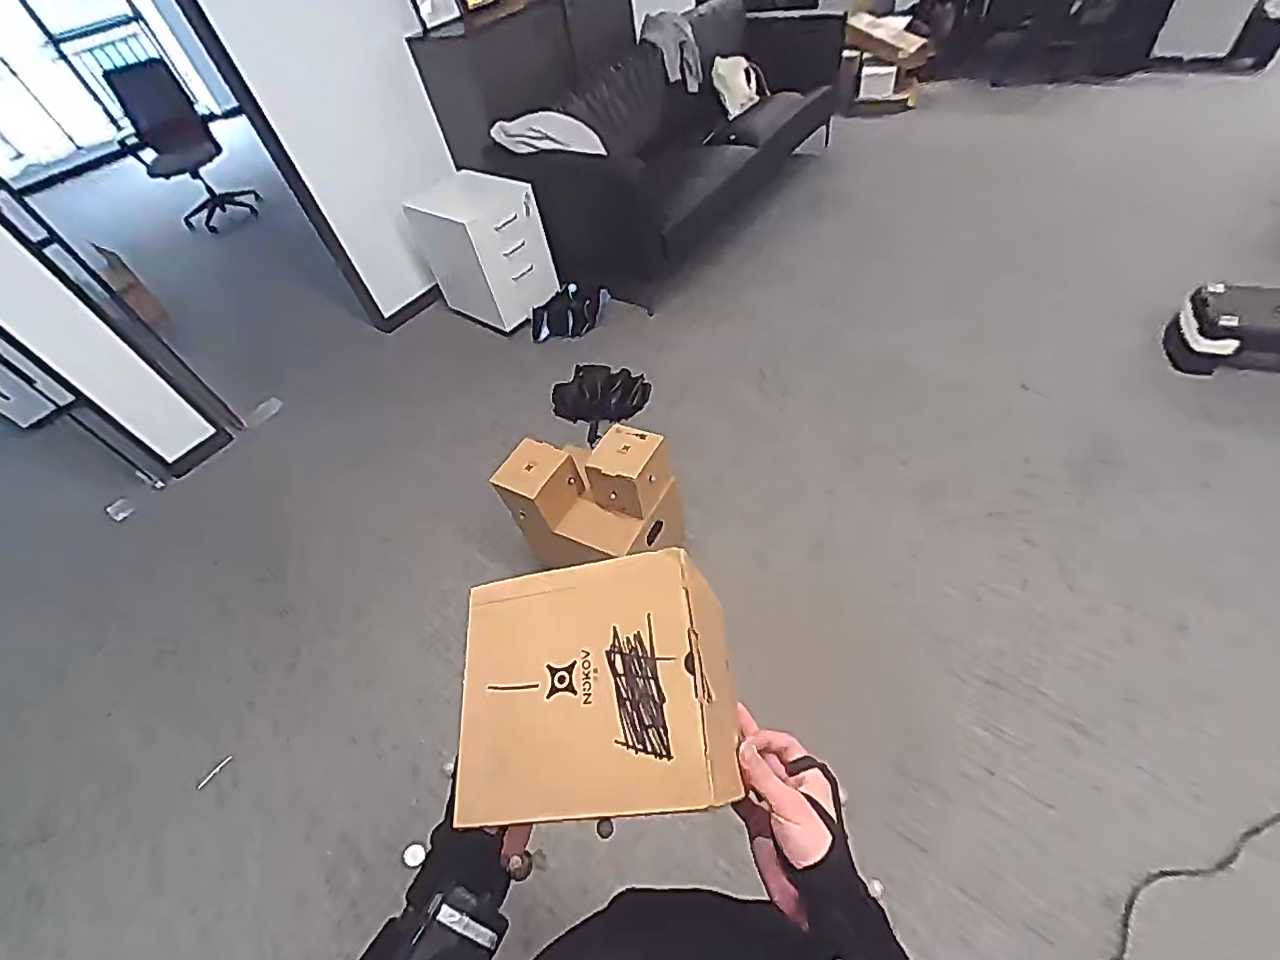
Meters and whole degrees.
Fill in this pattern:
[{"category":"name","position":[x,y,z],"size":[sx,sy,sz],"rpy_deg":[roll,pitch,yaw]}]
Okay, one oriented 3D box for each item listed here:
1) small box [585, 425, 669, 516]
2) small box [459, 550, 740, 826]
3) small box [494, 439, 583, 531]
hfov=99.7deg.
[{"category":"small box","position":[-0.027,-0.024,1.537],"size":[0.168,0.176,0.179],"rpy_deg":[16,55,24]},{"category":"small box","position":[-0.020,0.173,0.442],"size":[0.179,0.176,0.168],"rpy_deg":[-13,60,13]},{"category":"small box","position":[-0.282,0.016,1.564],"size":[0.168,0.176,0.179],"rpy_deg":[19,61,27]}]
